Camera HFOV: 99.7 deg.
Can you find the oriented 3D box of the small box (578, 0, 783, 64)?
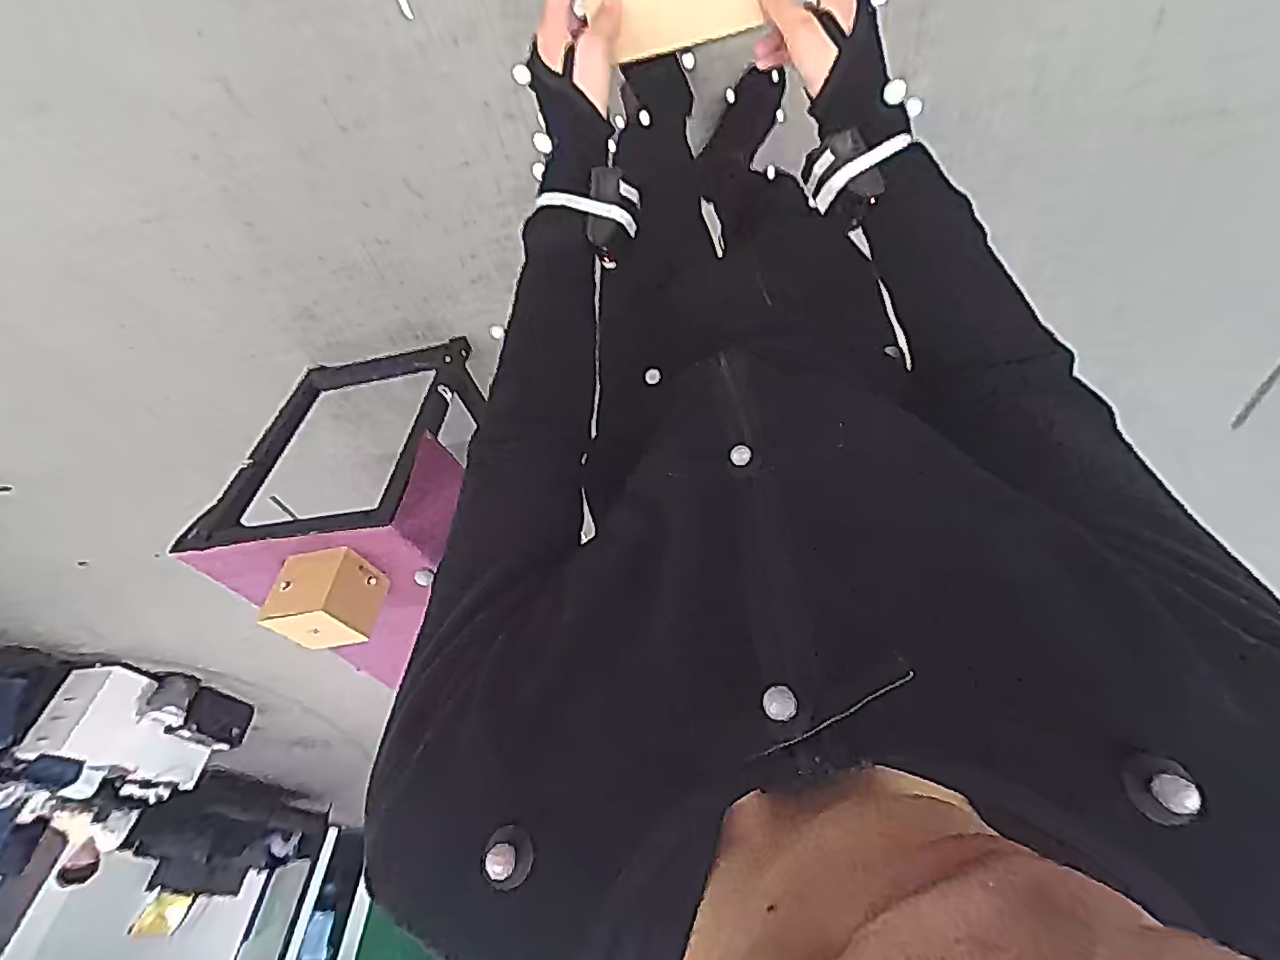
[{"bbox_3d":[0.029,-0.481,0.459,0.168,0.176,0.179,-6,127,10],"label":"small box"}]

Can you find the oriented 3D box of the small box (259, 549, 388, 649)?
[{"bbox_3d":[-0.740,0.283,1.286,0.179,0.176,0.168,-10,139,14],"label":"small box"}]
